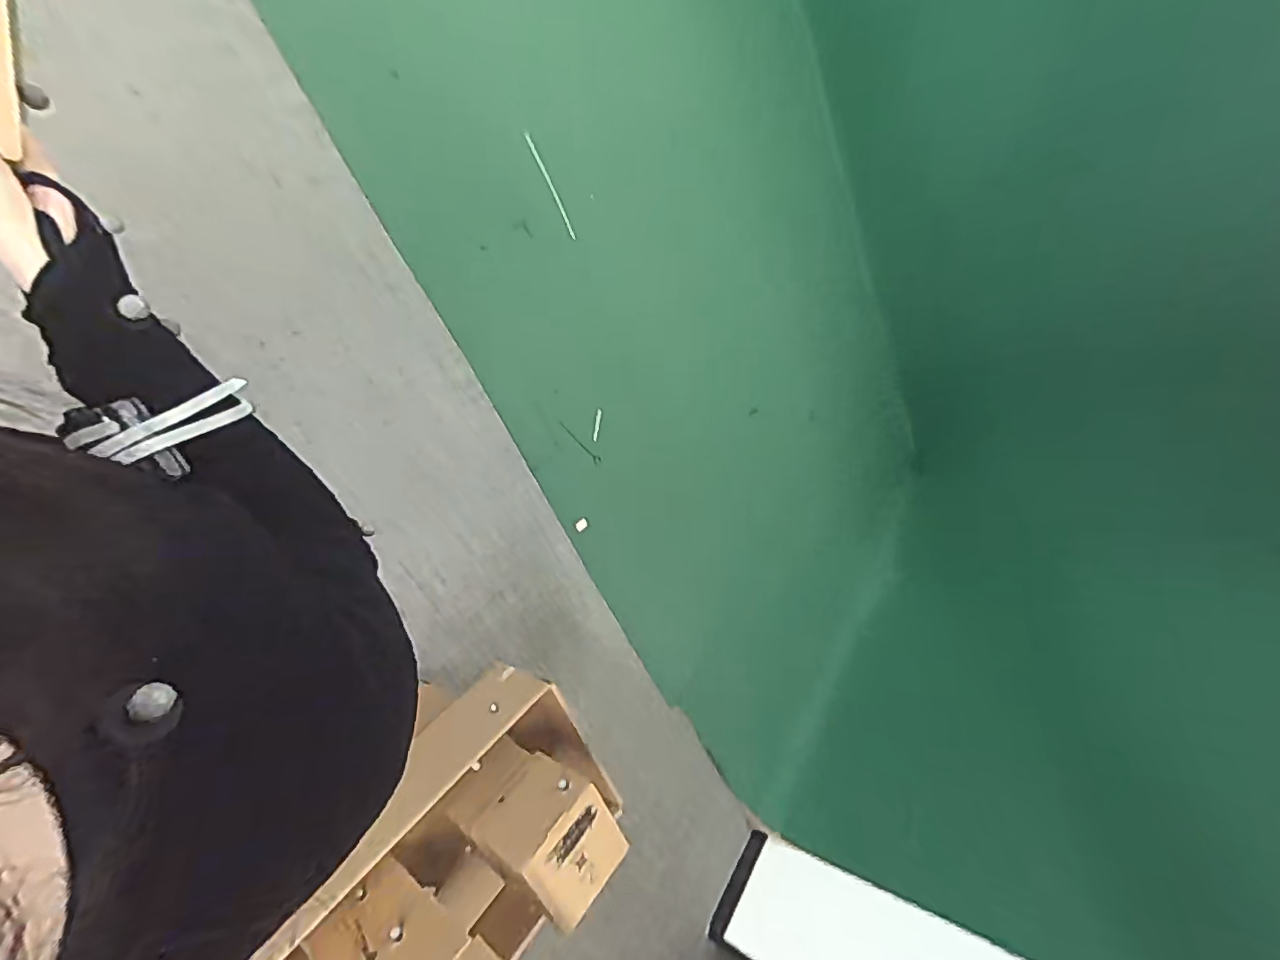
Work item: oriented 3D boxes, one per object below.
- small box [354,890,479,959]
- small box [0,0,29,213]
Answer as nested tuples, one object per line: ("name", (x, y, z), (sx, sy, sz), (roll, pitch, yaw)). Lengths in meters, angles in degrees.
("small box", (-0.310, 0.768, 0.804), (0.168, 0.176, 0.179), (-36, 111, -39))
("small box", (-0.506, -0.285, 0.325), (0.168, 0.176, 0.179), (-7, 100, -45))
